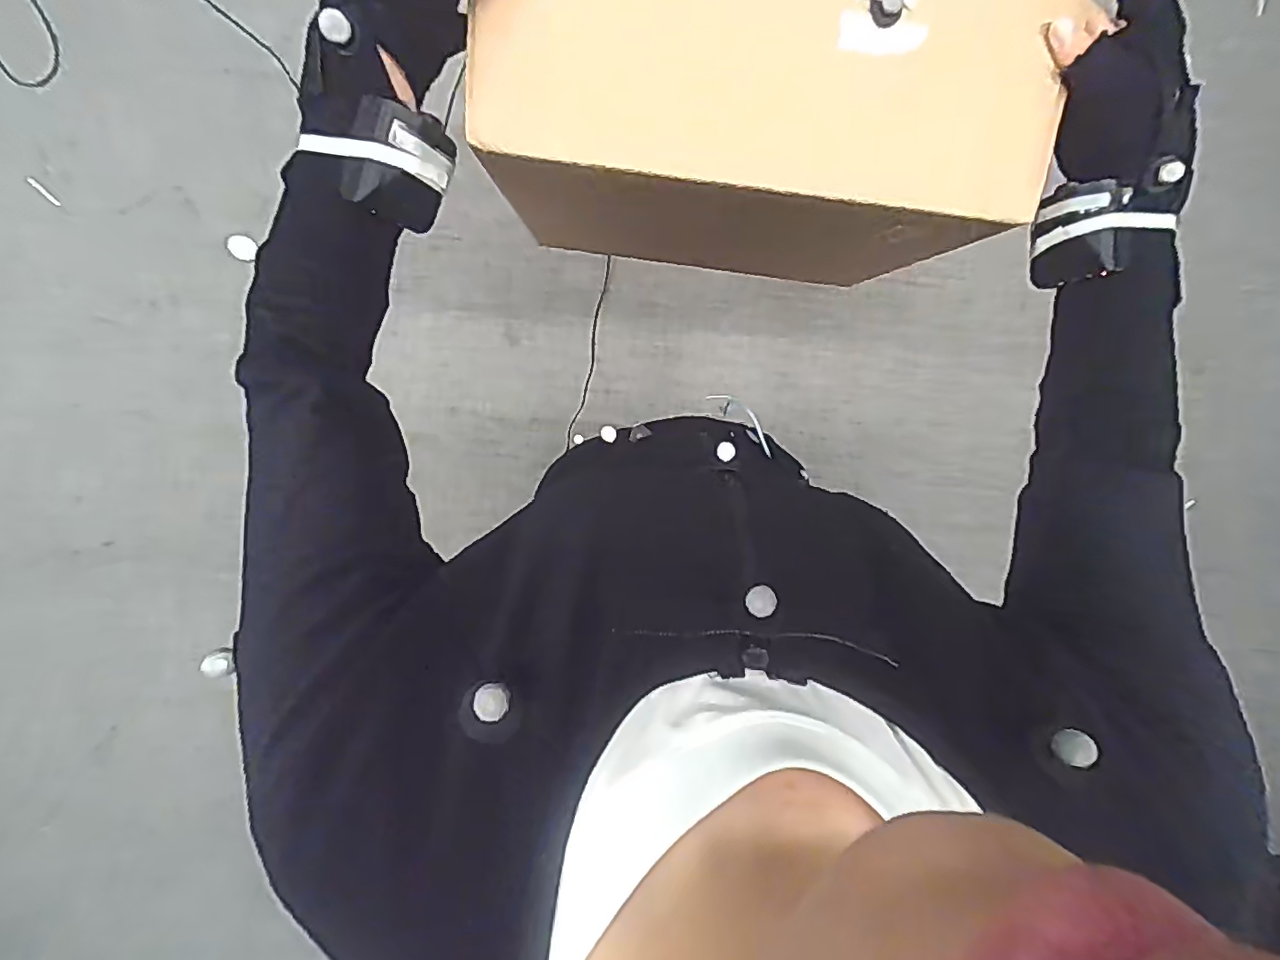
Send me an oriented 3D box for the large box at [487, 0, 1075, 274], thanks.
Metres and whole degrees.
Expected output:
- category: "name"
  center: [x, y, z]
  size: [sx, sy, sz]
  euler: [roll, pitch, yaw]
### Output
- category: "large box"
  center: [0.094, -0.395, 0.500]
  size: [0.408, 0.320, 0.320]
  euler: [5, 102, -4]
